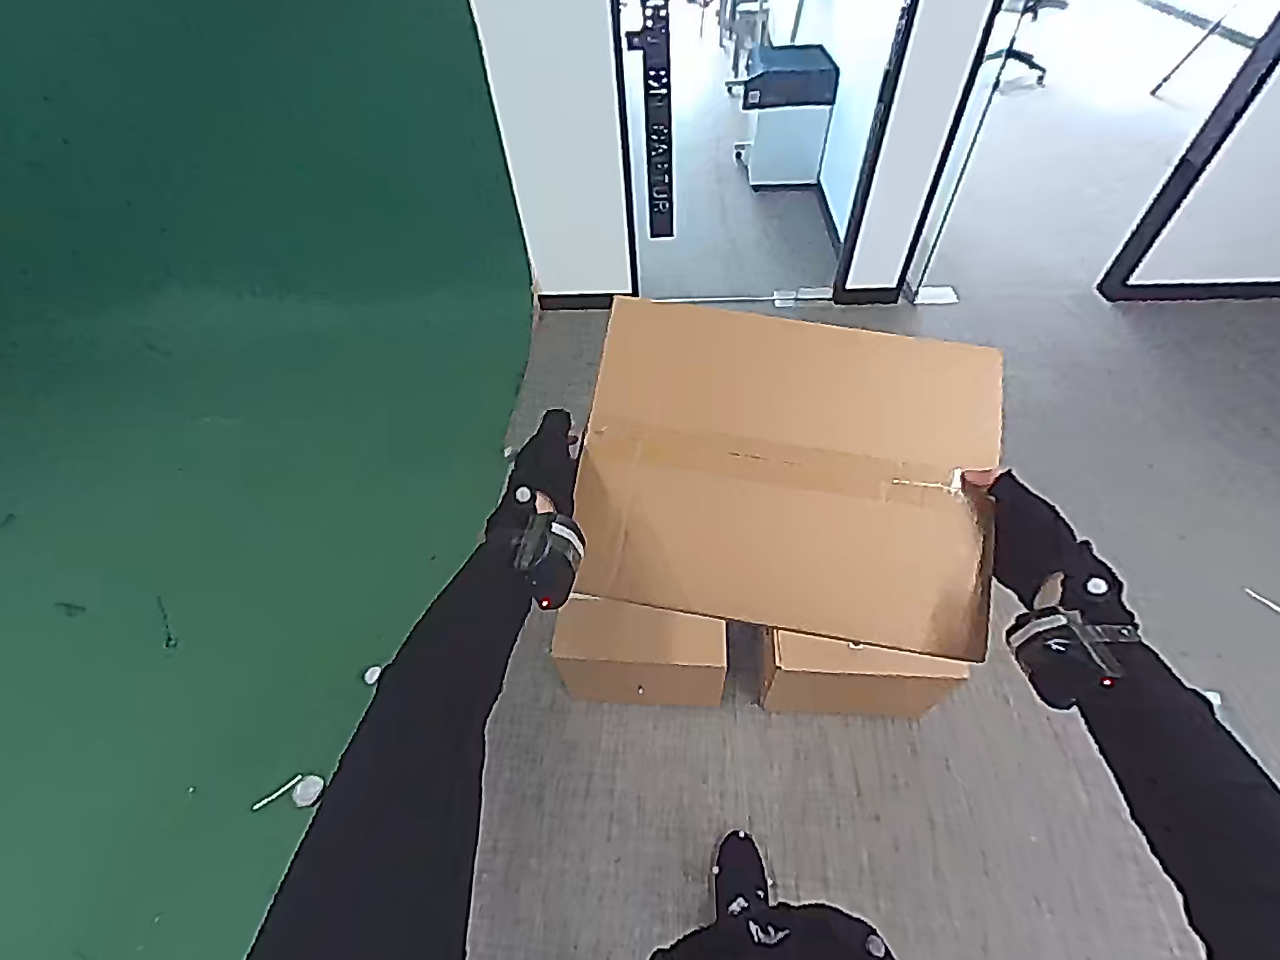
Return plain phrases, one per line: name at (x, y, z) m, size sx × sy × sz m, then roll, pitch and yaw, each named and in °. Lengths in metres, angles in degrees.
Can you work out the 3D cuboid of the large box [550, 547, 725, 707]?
large box at (0.014, 0.390, 1.424) m, size 0.408 × 0.320 × 0.320 m, roll 1°, pitch 50°, yaw 7°
